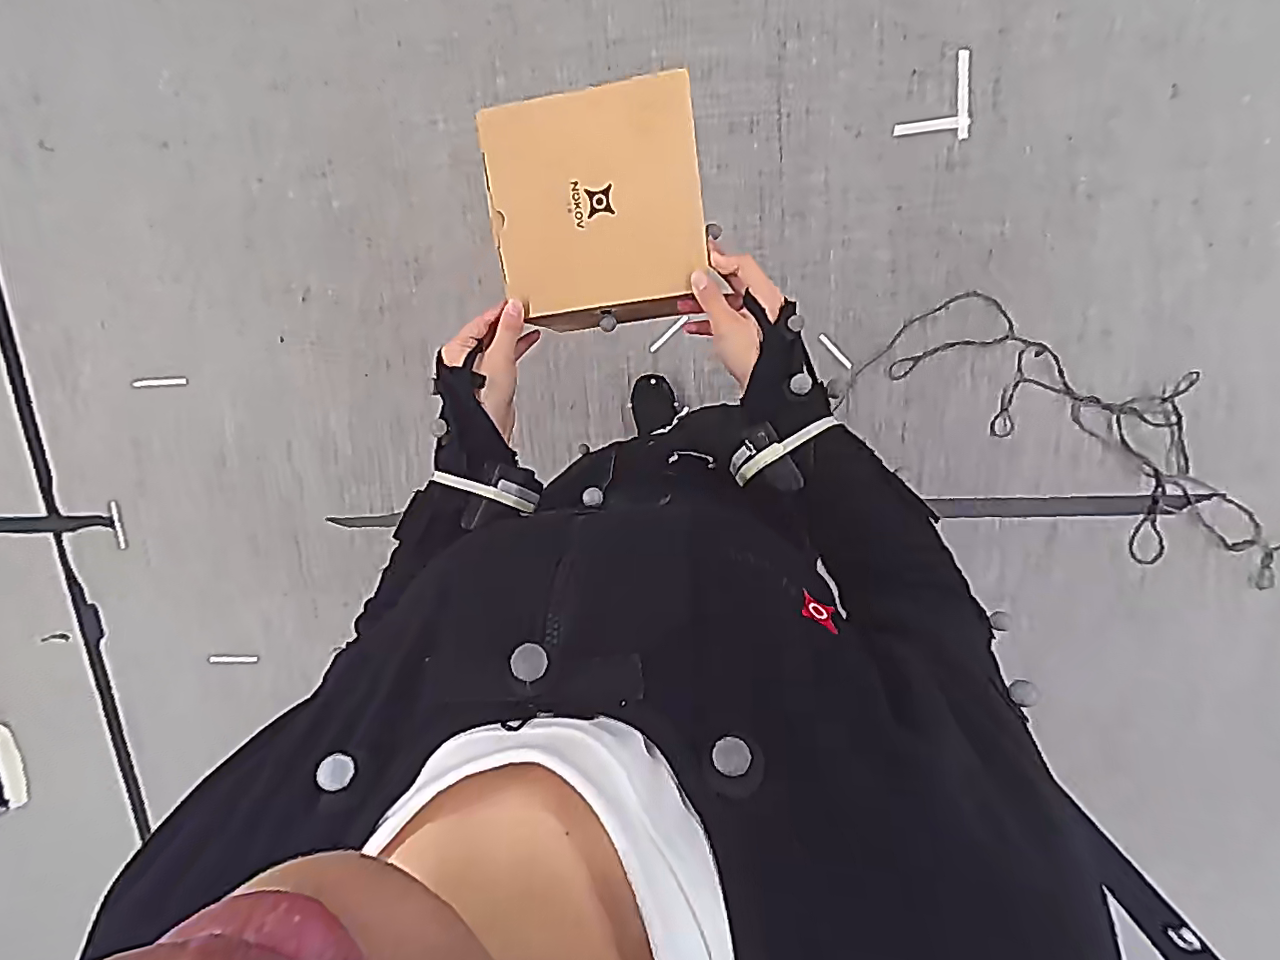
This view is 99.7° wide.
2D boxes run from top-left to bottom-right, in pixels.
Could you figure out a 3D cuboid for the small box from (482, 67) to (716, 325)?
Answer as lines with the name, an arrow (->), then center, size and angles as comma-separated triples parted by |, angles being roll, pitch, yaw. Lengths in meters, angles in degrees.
small box -> -0.025, -0.245, 0.514 | 0.179, 0.176, 0.168 | -6, 101, 8
